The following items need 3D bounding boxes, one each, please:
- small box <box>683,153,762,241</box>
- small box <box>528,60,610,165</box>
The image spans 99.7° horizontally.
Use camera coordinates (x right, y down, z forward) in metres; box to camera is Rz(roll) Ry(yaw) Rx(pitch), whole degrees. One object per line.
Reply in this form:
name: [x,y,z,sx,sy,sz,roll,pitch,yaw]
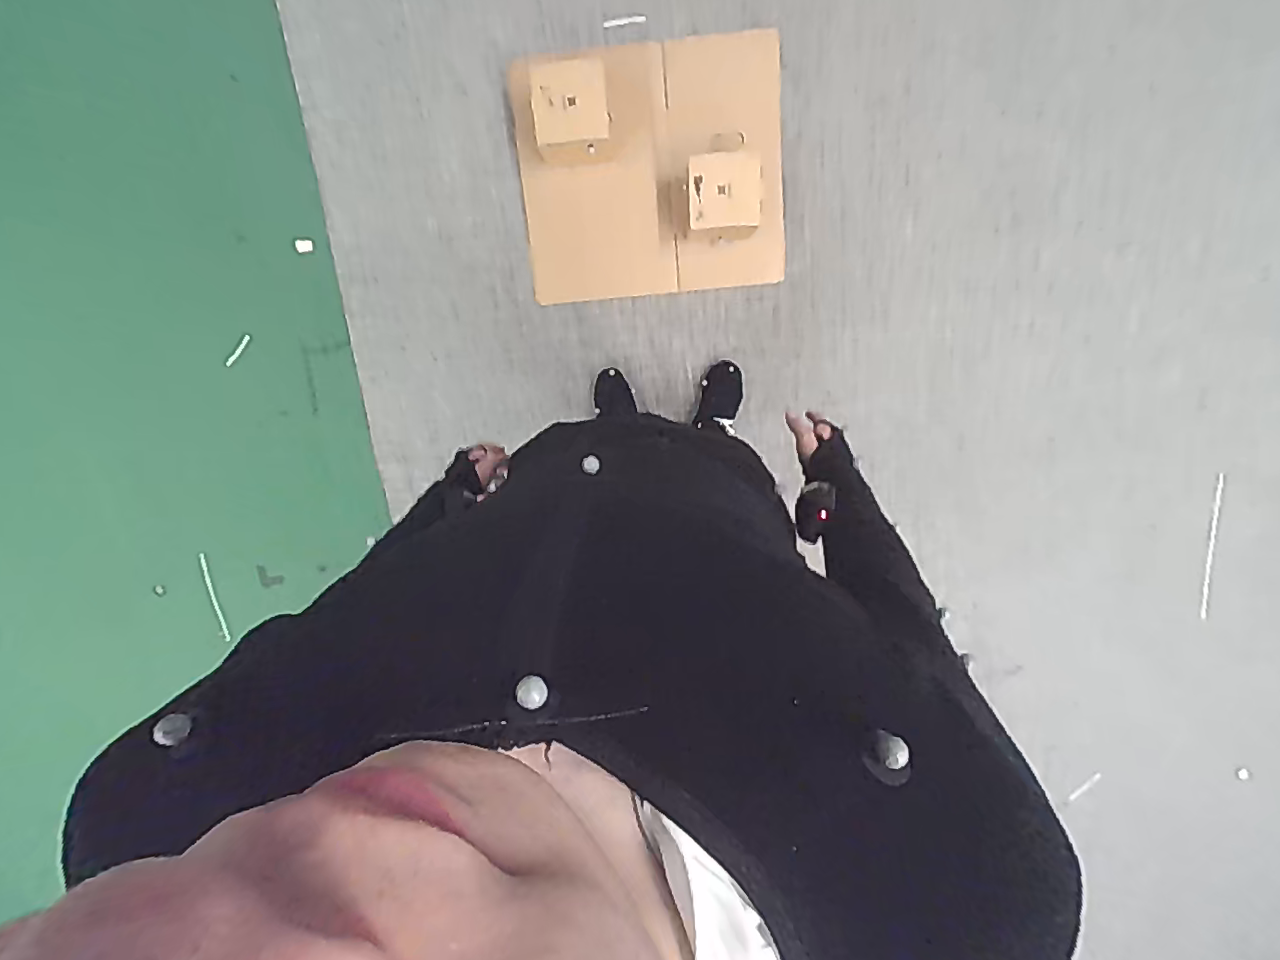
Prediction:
small box: [0.203,-0.711,1.371,0.179,0.176,0.168,-2,104,2]
small box: [-0.166,-0.893,1.328,0.179,0.176,0.168,-3,104,2]
